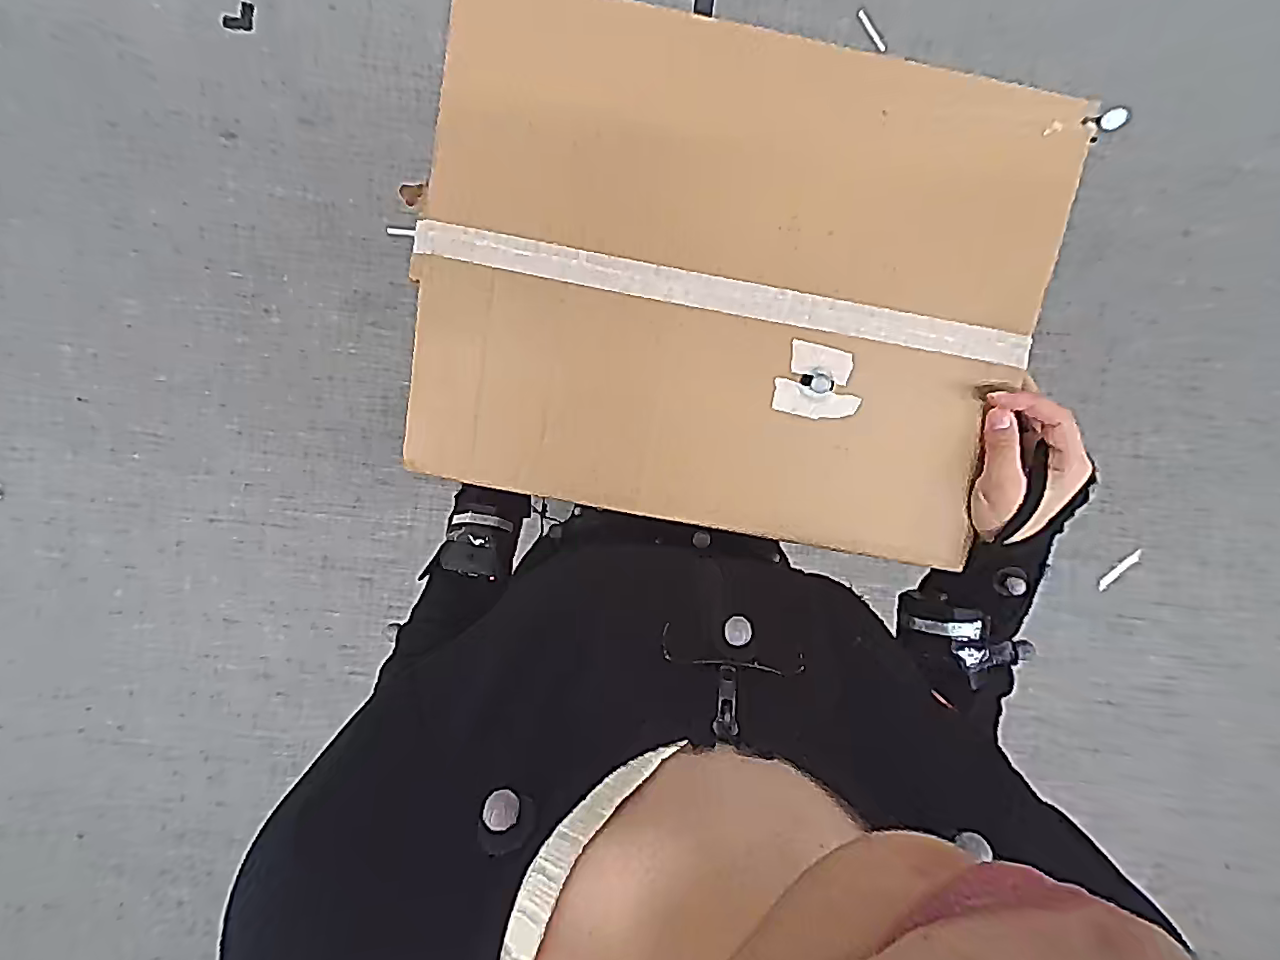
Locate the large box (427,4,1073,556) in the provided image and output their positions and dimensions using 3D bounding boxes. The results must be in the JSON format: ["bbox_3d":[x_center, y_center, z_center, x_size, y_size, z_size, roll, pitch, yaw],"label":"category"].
[{"bbox_3d":[0.061,-0.143,0.513,0.408,0.320,0.320,9,100,-3],"label":"large box"}]
